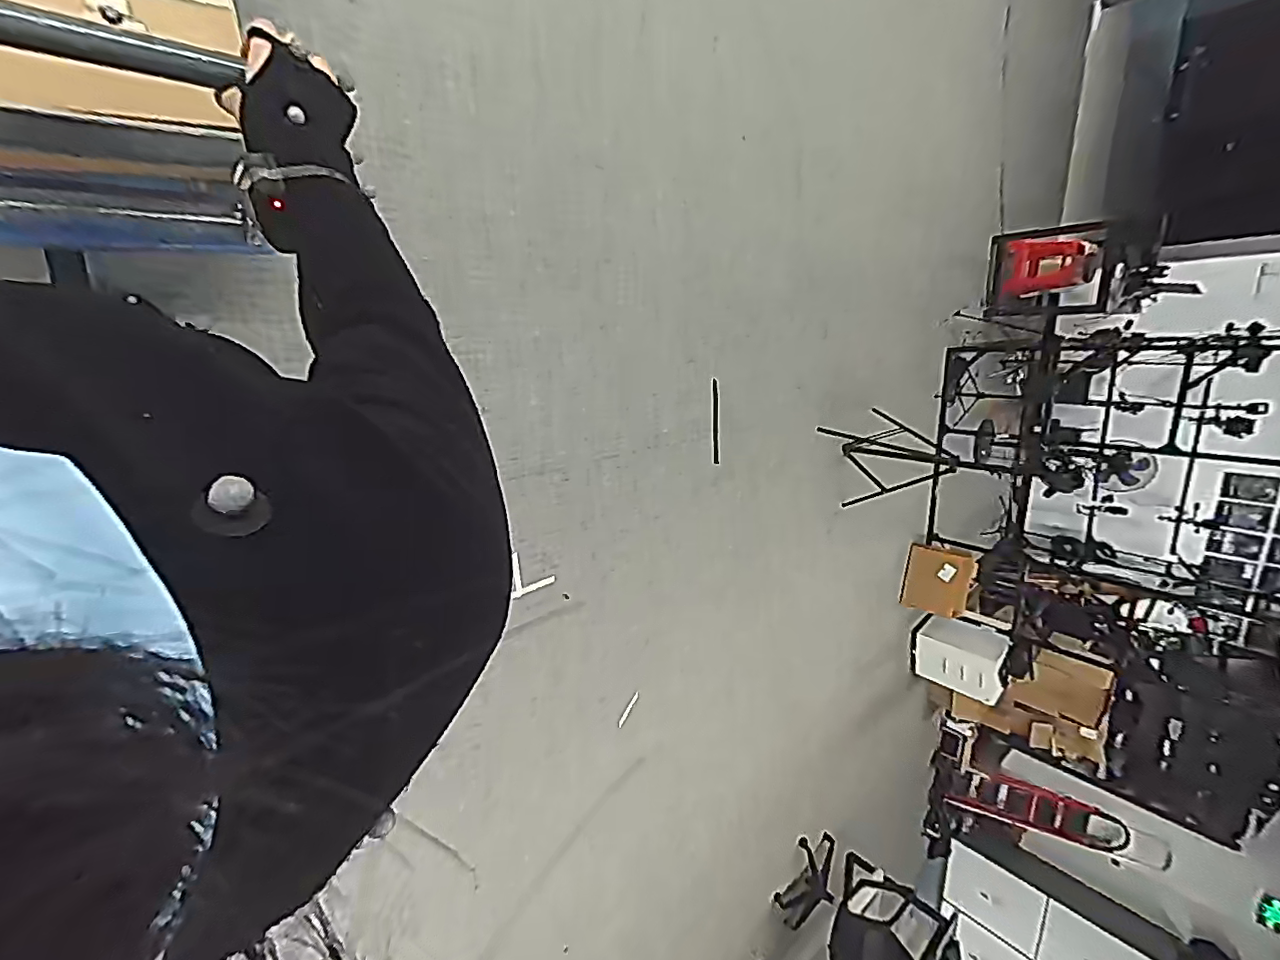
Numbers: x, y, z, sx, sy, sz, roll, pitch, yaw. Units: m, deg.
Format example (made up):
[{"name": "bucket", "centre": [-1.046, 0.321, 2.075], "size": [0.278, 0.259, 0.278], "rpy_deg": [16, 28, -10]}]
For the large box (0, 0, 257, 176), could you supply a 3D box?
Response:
[{"name": "large box", "centre": [-0.825, -0.628, 0.732], "size": [0.408, 0.320, 0.320], "rpy_deg": [-21, 114, -39]}]
